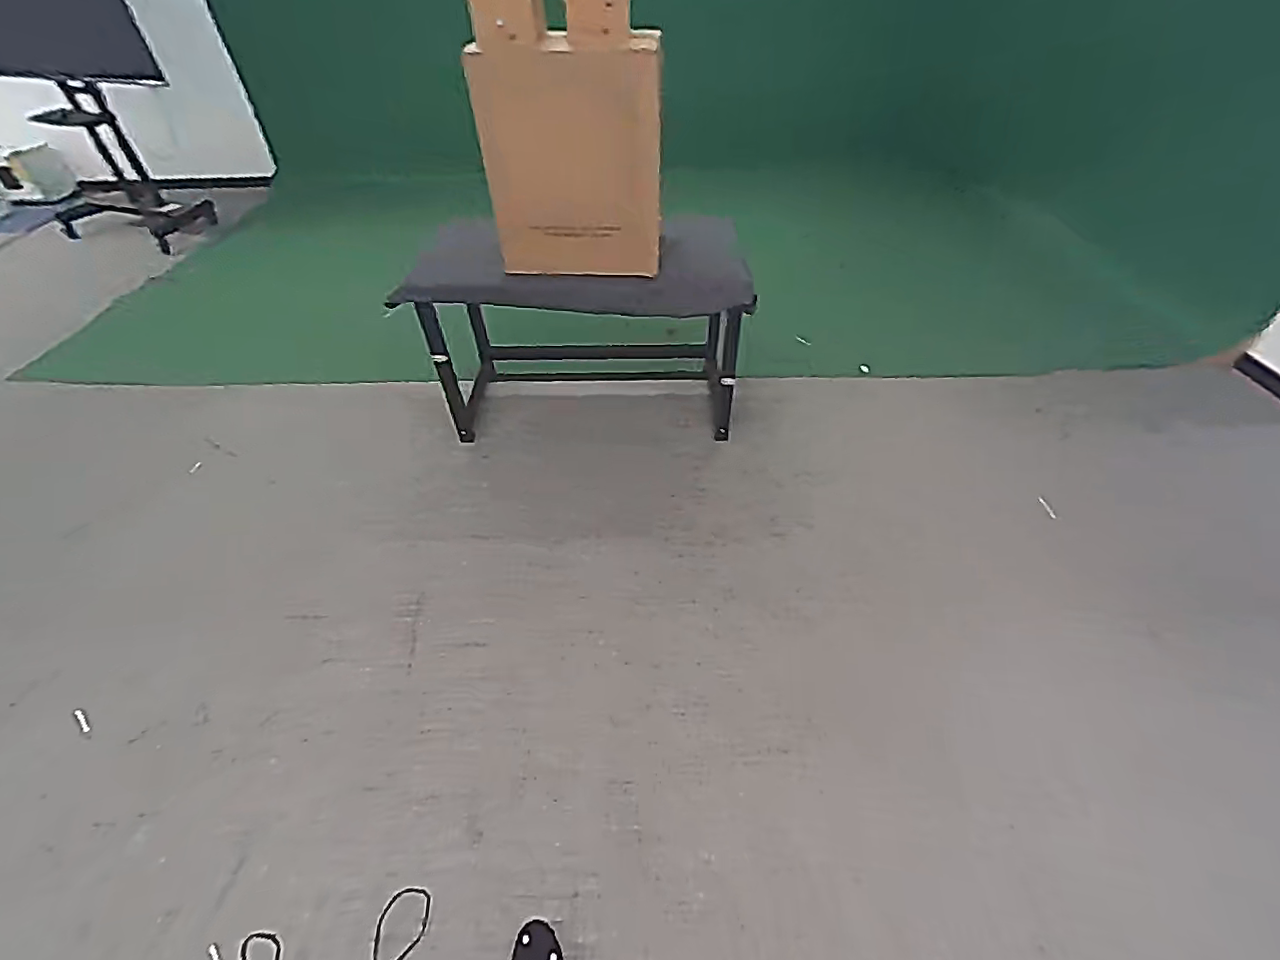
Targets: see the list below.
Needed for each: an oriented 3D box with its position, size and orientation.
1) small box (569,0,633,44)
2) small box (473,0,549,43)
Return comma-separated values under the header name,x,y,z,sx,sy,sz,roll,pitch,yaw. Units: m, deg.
name,x,y,z,sx,sy,sz,roll,pitch,yaw
small box,-0.102,-1.299,1.458,0.168,0.176,0.179,1,47,-2
small box,-0.349,-1.299,1.453,0.168,0.176,0.179,3,48,5
